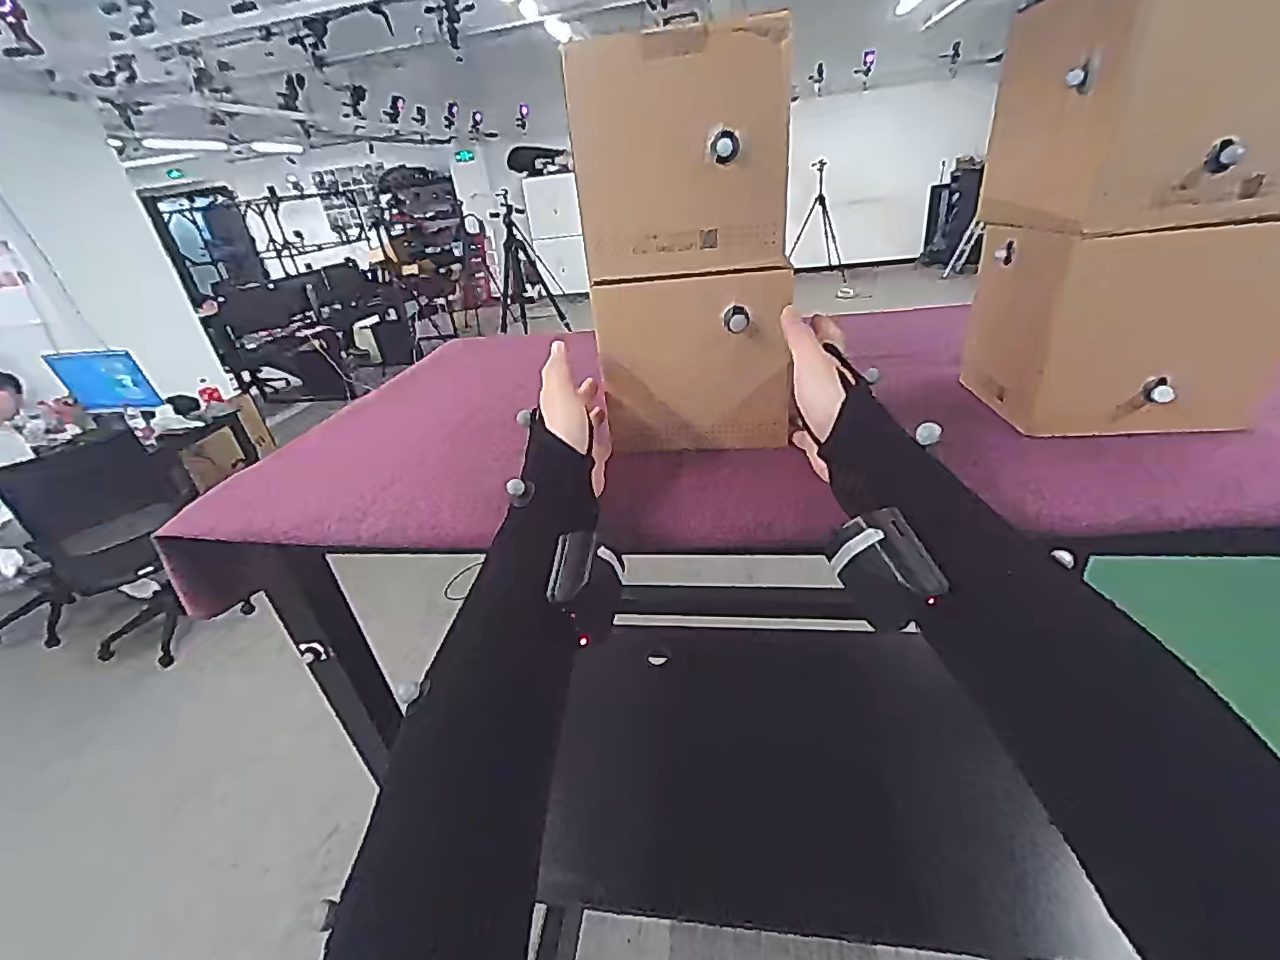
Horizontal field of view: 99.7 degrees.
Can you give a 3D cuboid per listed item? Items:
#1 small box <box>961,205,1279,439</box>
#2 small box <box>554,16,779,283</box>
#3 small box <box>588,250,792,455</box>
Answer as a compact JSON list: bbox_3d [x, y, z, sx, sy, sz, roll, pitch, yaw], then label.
[{"bbox_3d":[0.425,-0.145,0.492,0.179,0.176,0.168,-2,27,10],"label":"small box"},{"bbox_3d":[0.039,-0.279,0.490,0.168,0.176,0.179,0,29,11],"label":"small box"},{"bbox_3d":[0.060,-0.135,0.564,0.179,0.176,0.168,-2,29,11],"label":"small box"}]
